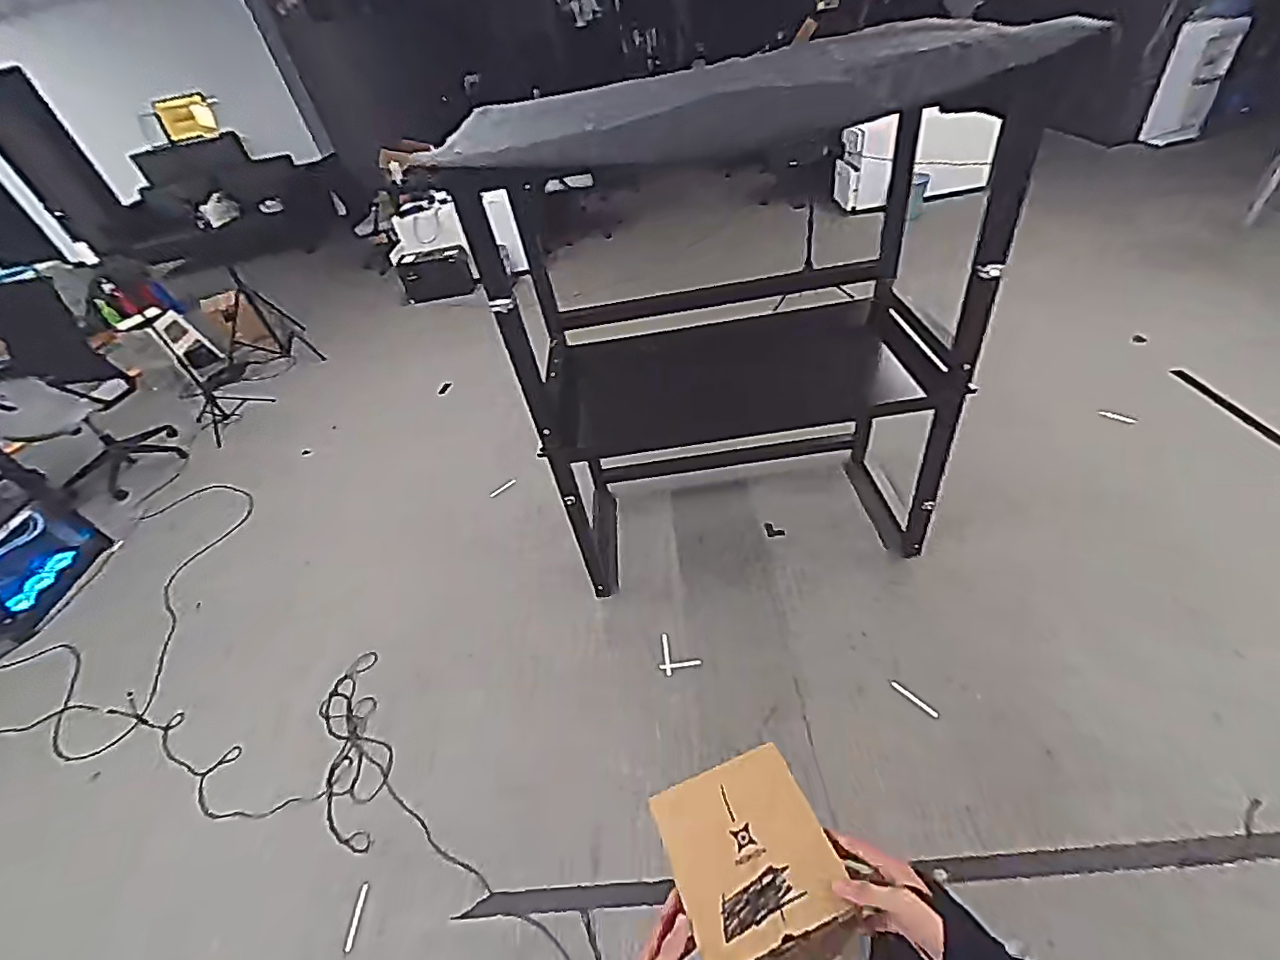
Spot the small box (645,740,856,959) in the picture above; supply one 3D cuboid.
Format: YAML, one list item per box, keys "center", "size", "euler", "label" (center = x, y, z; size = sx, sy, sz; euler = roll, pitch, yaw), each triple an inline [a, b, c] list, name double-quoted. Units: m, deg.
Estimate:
- center: [0.124, 0.447, 0.619]
  size: [0.168, 0.176, 0.179]
  euler: [-21, 37, -9]
  label: "small box"
